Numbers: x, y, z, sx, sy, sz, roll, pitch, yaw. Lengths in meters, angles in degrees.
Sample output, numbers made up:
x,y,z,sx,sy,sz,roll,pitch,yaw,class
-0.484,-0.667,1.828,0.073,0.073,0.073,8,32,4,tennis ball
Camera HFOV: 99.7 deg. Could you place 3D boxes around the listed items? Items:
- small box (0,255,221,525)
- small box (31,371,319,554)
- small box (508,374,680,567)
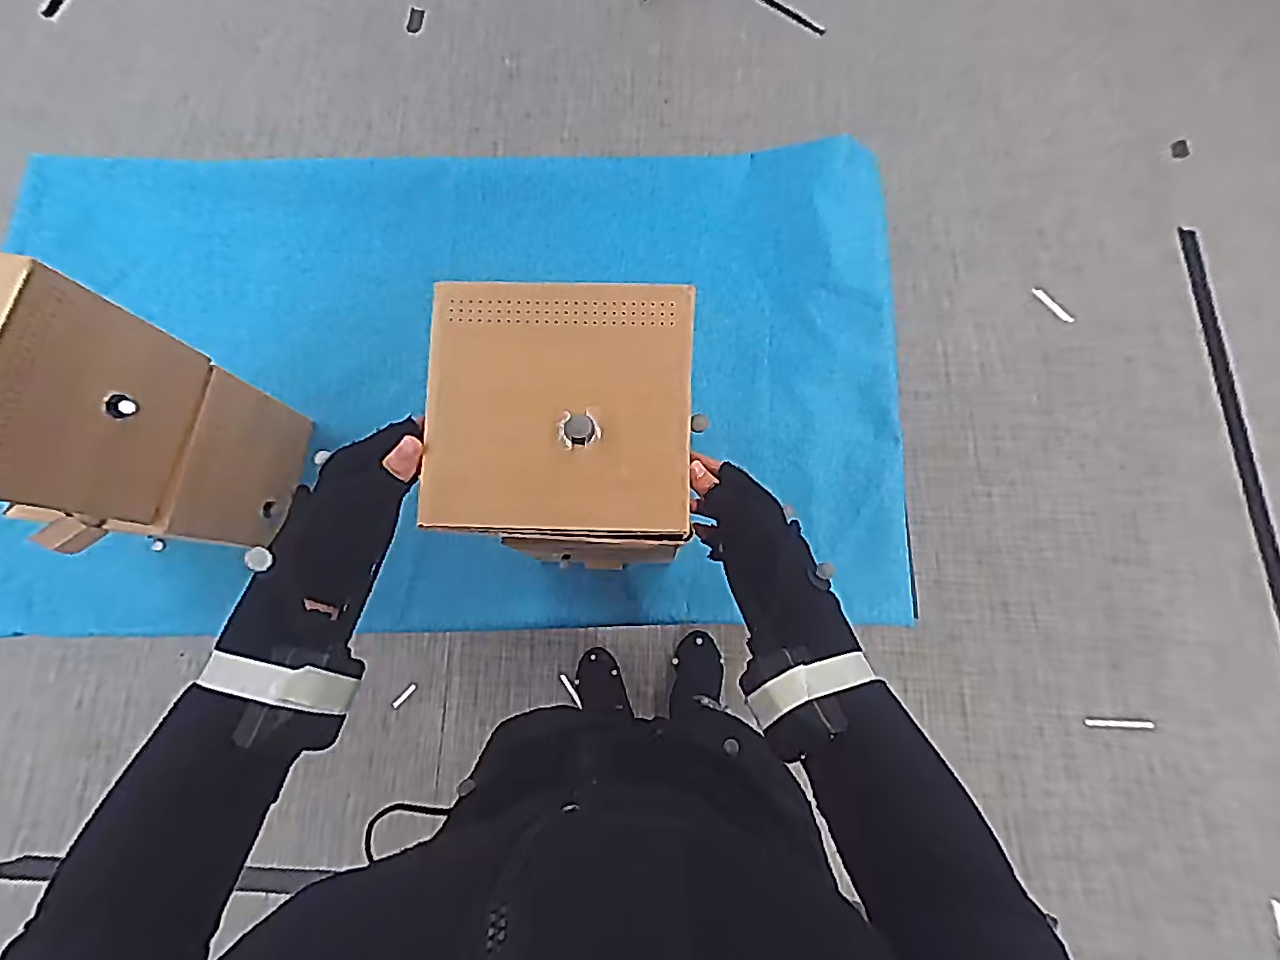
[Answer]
x,y,z,sx,sy,sz,roll,pitch,yaw,class
-0.523,-0.069,0.460,0.168,0.176,0.179,9,78,3,small box
-0.513,-0.018,0.617,0.168,0.176,0.179,5,77,2,small box
-0.043,0.000,0.602,0.168,0.176,0.179,0,75,1,small box
